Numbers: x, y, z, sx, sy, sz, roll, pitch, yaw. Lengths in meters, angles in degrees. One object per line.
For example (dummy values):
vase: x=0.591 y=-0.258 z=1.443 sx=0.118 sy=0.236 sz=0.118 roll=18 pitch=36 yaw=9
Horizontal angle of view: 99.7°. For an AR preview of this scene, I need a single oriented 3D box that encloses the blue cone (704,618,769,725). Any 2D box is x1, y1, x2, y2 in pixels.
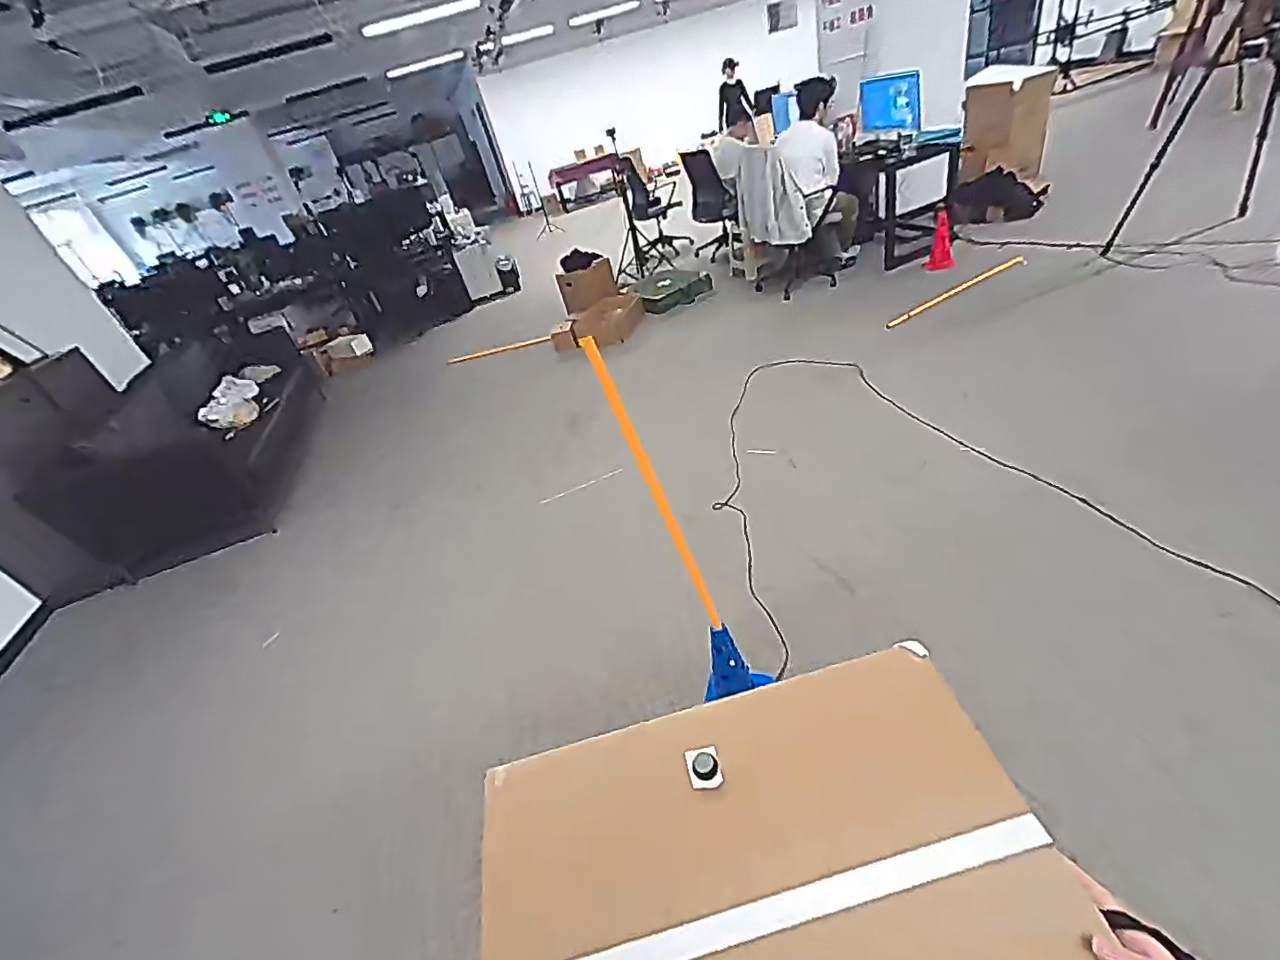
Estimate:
blue cone: x=0.248 y=0.520 z=1.534 sx=0.192 sy=0.380 sz=0.193 roll=-3 pitch=38 yaw=20
